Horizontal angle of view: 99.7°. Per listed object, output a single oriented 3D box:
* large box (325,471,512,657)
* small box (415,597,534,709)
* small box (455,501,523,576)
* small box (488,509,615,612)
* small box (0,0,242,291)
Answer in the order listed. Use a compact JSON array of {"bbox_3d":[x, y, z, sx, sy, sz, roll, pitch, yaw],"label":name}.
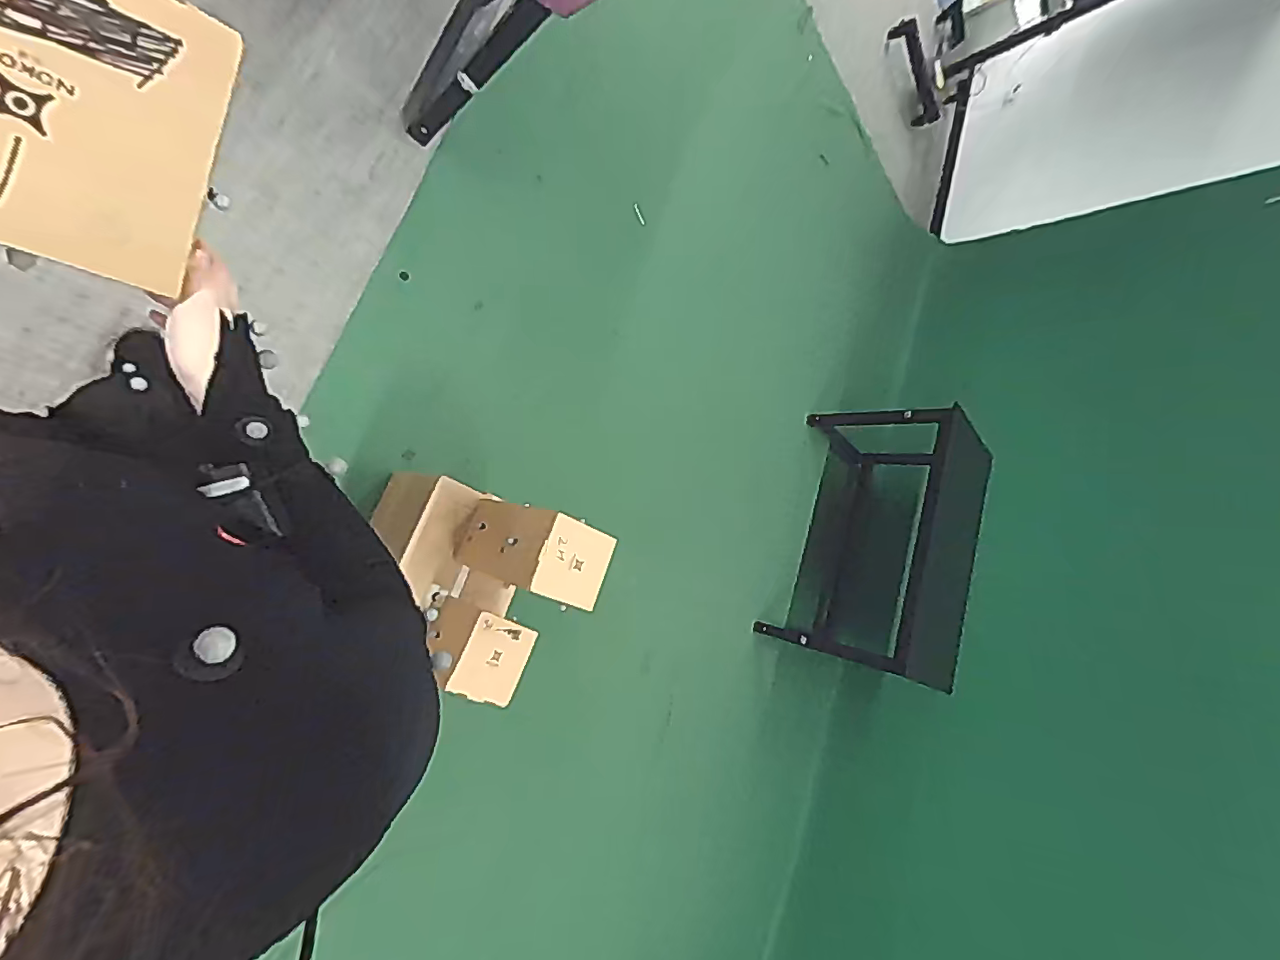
[{"bbox_3d":[-0.537,0.222,1.400,0.320,0.320,0.408,32,72,-39],"label":"large box"},{"bbox_3d":[-0.379,0.386,1.222,0.168,0.176,0.179,39,66,-39],"label":"small box"},{"bbox_3d":[-0.303,0.158,1.284,0.179,0.176,0.168,33,71,-40],"label":"small box"},{"bbox_3d":[-0.192,0.168,1.162,0.179,0.176,0.168,31,72,-40],"label":"small box"},{"bbox_3d":[-0.383,-0.242,0.348,0.168,0.176,0.179,15,98,-42],"label":"small box"}]
